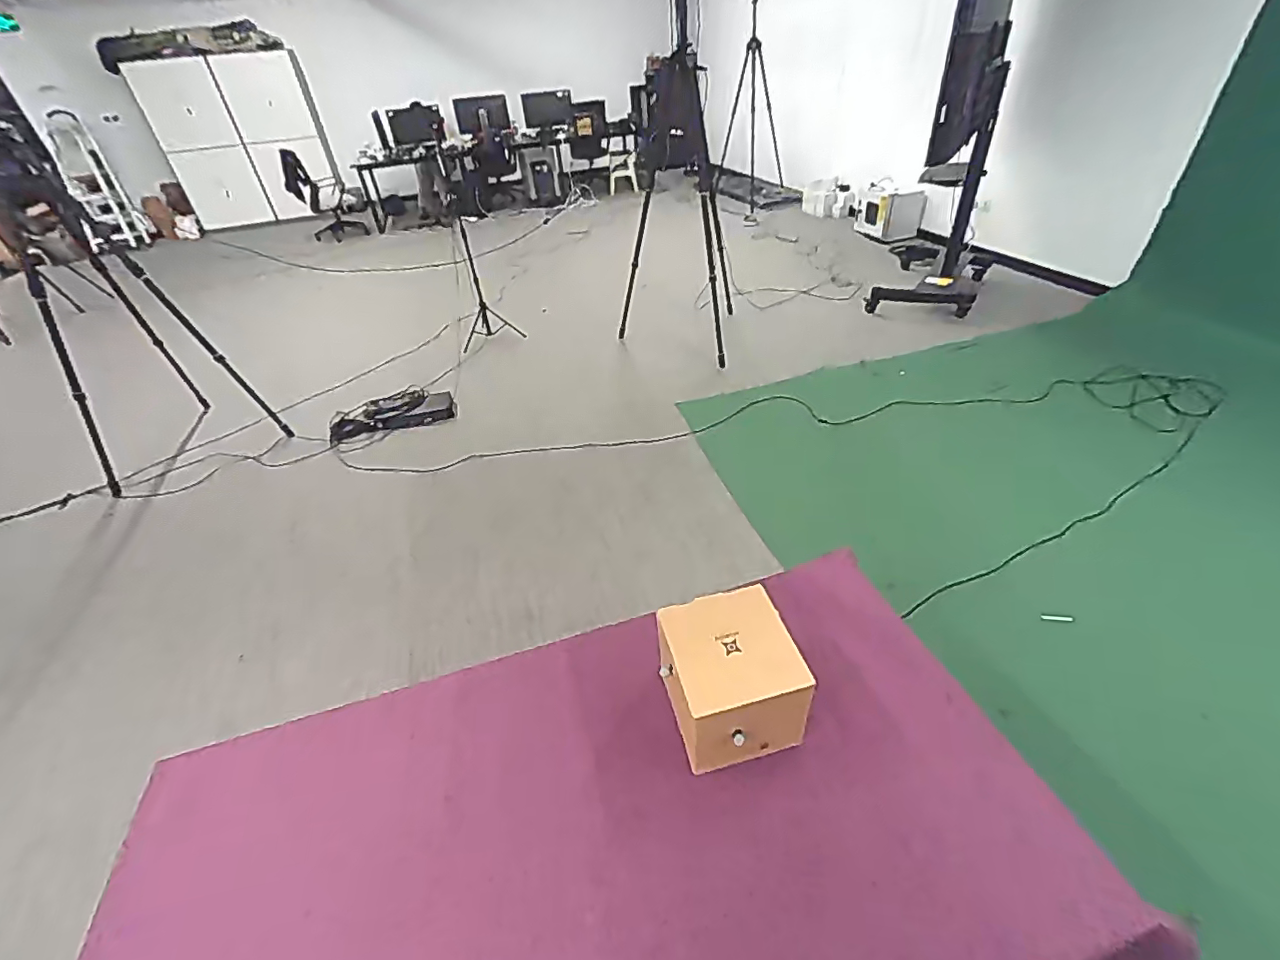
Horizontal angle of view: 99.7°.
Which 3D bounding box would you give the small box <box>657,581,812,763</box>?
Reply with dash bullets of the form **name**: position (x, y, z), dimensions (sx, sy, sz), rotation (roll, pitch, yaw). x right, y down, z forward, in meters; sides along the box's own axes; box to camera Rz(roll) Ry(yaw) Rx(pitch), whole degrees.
- **small box**: position (0.131, 0.283, 0.786), dimensions (0.168, 0.176, 0.179), rotation (-13, 38, -7)
